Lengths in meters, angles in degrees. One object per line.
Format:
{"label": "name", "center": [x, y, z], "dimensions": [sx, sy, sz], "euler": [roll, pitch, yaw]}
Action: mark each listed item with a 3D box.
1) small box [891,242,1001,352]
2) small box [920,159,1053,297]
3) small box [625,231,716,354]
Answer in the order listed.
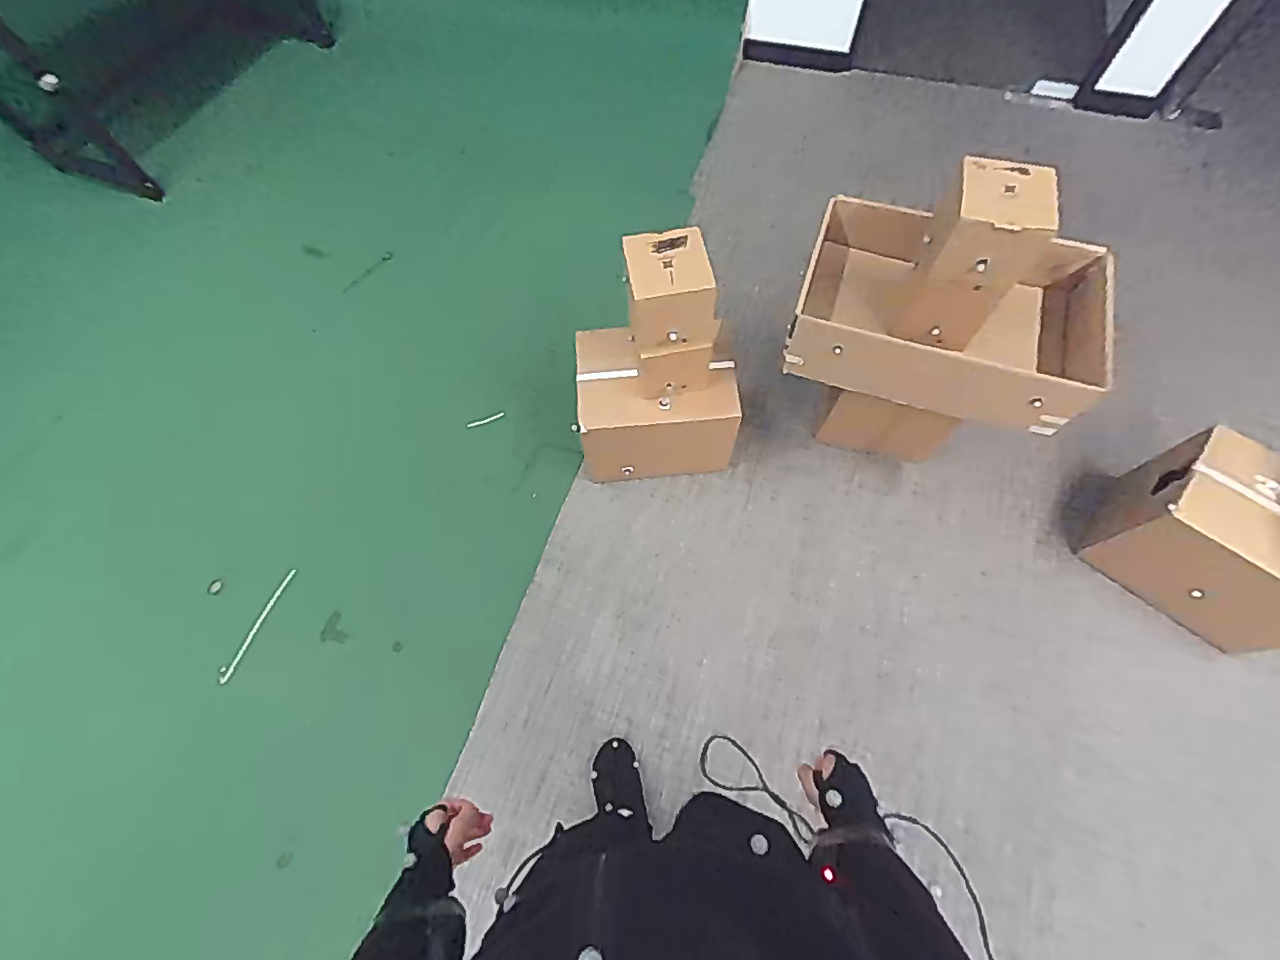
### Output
{"label": "small box", "center": [0.687, -0.423, 1.220], "dimensions": [0.168, 0.176, 0.179], "euler": [16, 67, 10]}
{"label": "small box", "center": [0.677, -0.492, 1.071], "dimensions": [0.168, 0.176, 0.179], "euler": [14, 67, 8]}
{"label": "small box", "center": [0.061, -0.401, 1.168], "dimensions": [0.168, 0.176, 0.179], "euler": [-9, 64, -2]}
